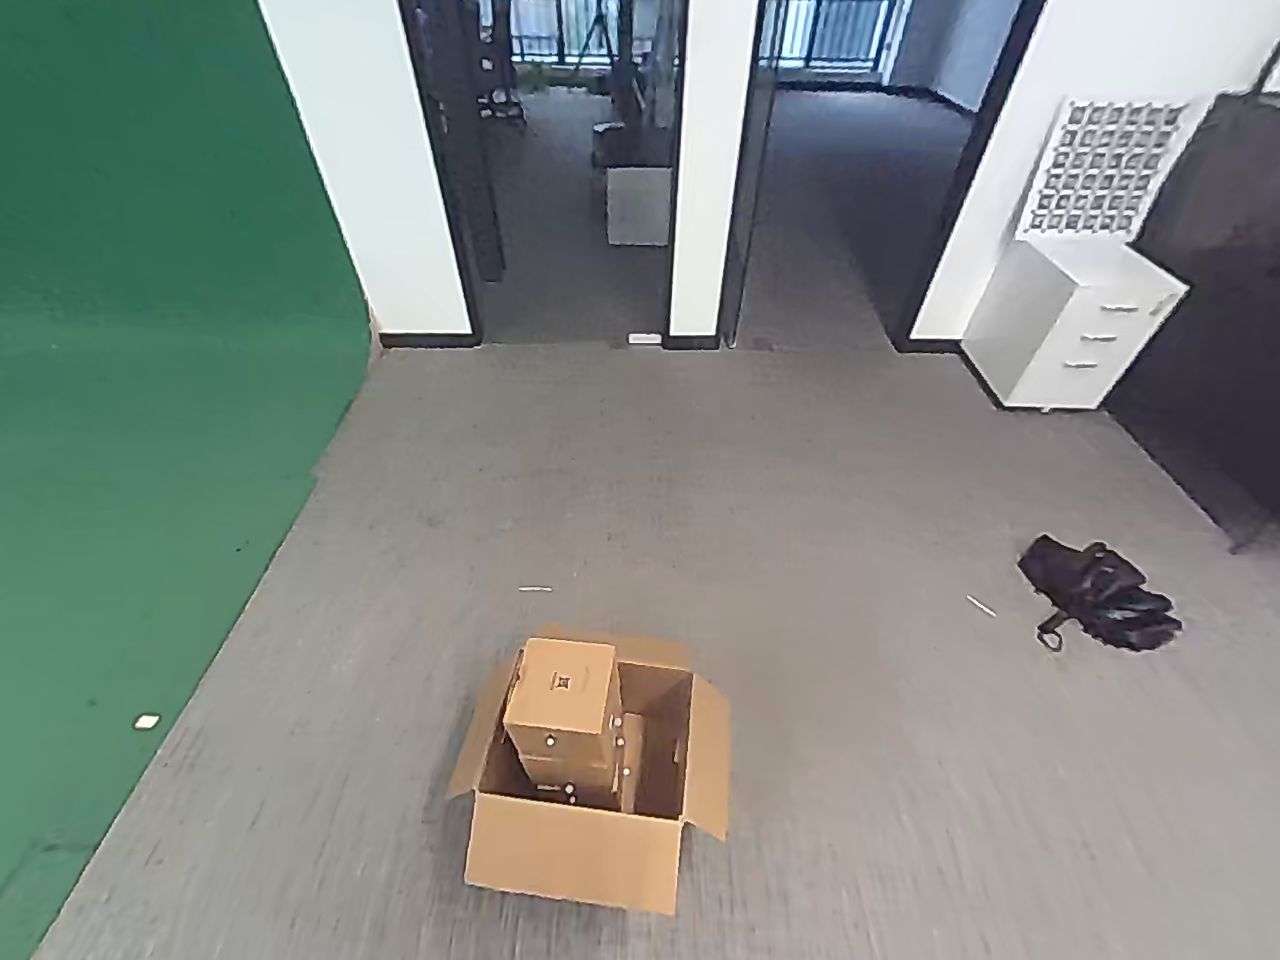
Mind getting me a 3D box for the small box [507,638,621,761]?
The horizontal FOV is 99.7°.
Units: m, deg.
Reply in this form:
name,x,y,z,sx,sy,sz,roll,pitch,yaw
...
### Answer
name,x,y,z,sx,sy,sz,roll,pitch,yaw
small box,-0.136,0.426,1.047,0.179,0.176,0.168,3,46,5
